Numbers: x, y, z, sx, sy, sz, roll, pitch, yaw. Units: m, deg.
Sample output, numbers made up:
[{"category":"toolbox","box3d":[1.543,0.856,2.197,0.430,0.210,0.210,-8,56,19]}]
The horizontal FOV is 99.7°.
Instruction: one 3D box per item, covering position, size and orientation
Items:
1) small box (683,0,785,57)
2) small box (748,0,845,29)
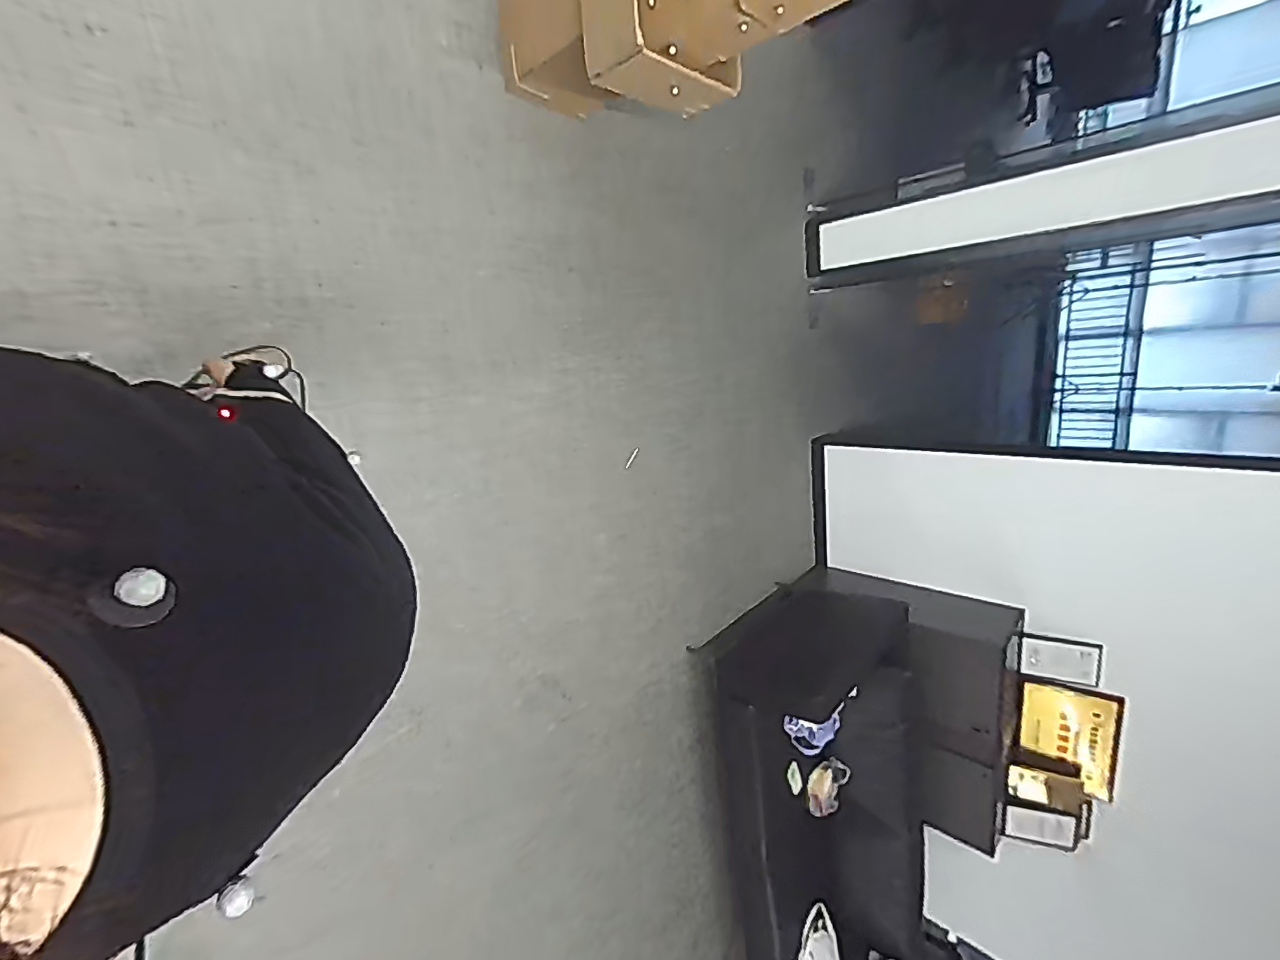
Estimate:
[{"category":"small box","box3d":[0.209,-1.095,1.207,0.179,0.176,0.168,-11,105,-44]},{"category":"small box","box3d":[0.322,-1.073,1.092,0.168,0.176,0.179,-17,110,-42]}]
